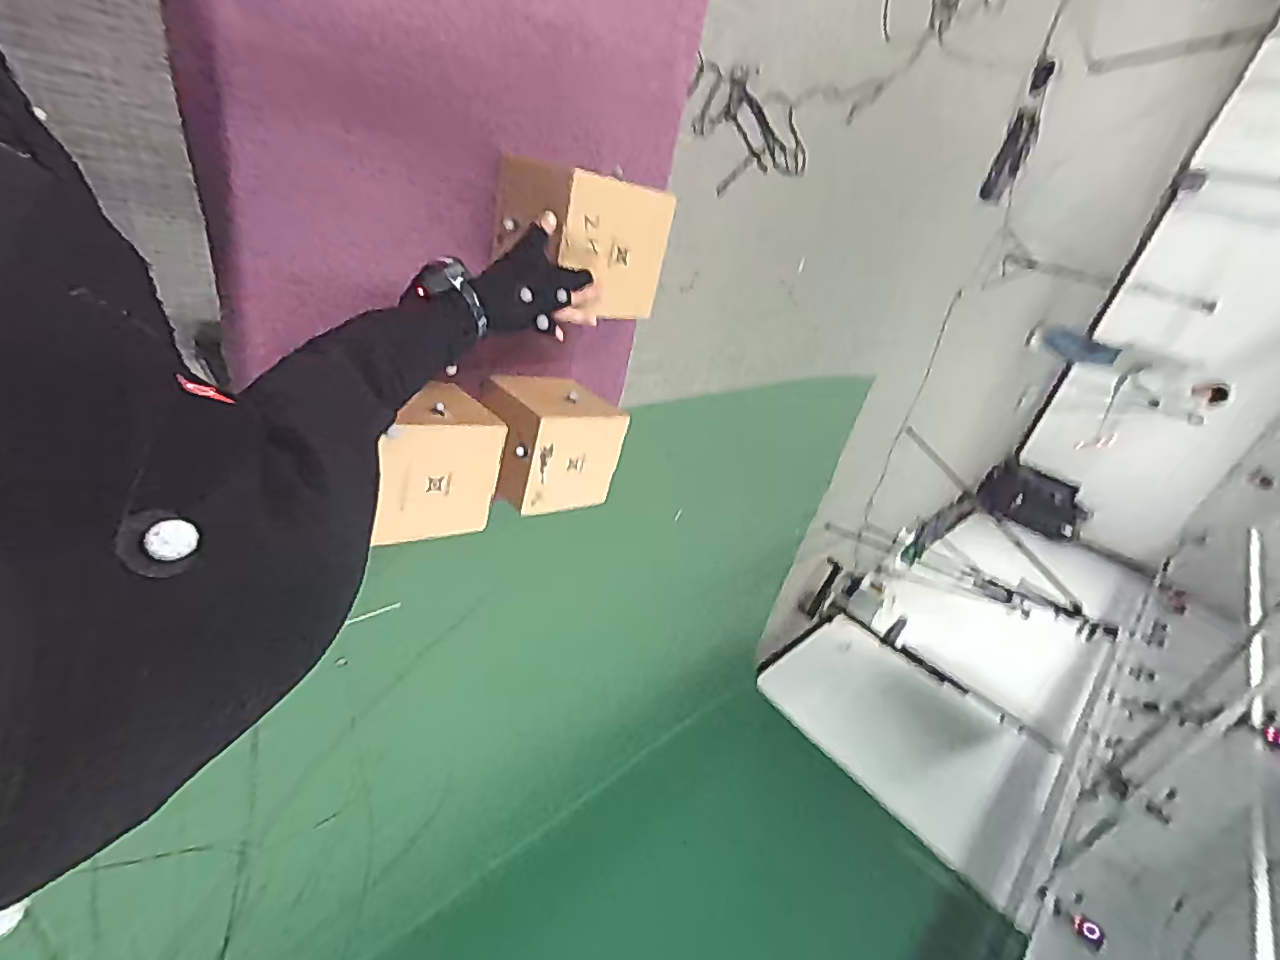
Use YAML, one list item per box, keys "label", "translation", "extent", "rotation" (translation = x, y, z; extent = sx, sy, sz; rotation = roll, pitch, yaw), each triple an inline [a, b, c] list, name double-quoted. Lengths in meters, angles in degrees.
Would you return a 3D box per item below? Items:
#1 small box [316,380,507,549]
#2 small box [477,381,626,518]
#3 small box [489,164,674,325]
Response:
- label: "small box"
  translation: [-0.317, -0.029, 0.745]
  extent: [0.179, 0.176, 0.168]
  rotation: [-4, 121, -47]
- label: "small box"
  translation: [-0.158, -0.058, 0.901]
  extent: [0.179, 0.176, 0.168]
  rotation: [-8, 124, -46]
- label: "small box"
  translation: [-0.086, -0.327, 0.759]
  extent: [0.179, 0.176, 0.168]
  rotation: [-12, 128, -42]
